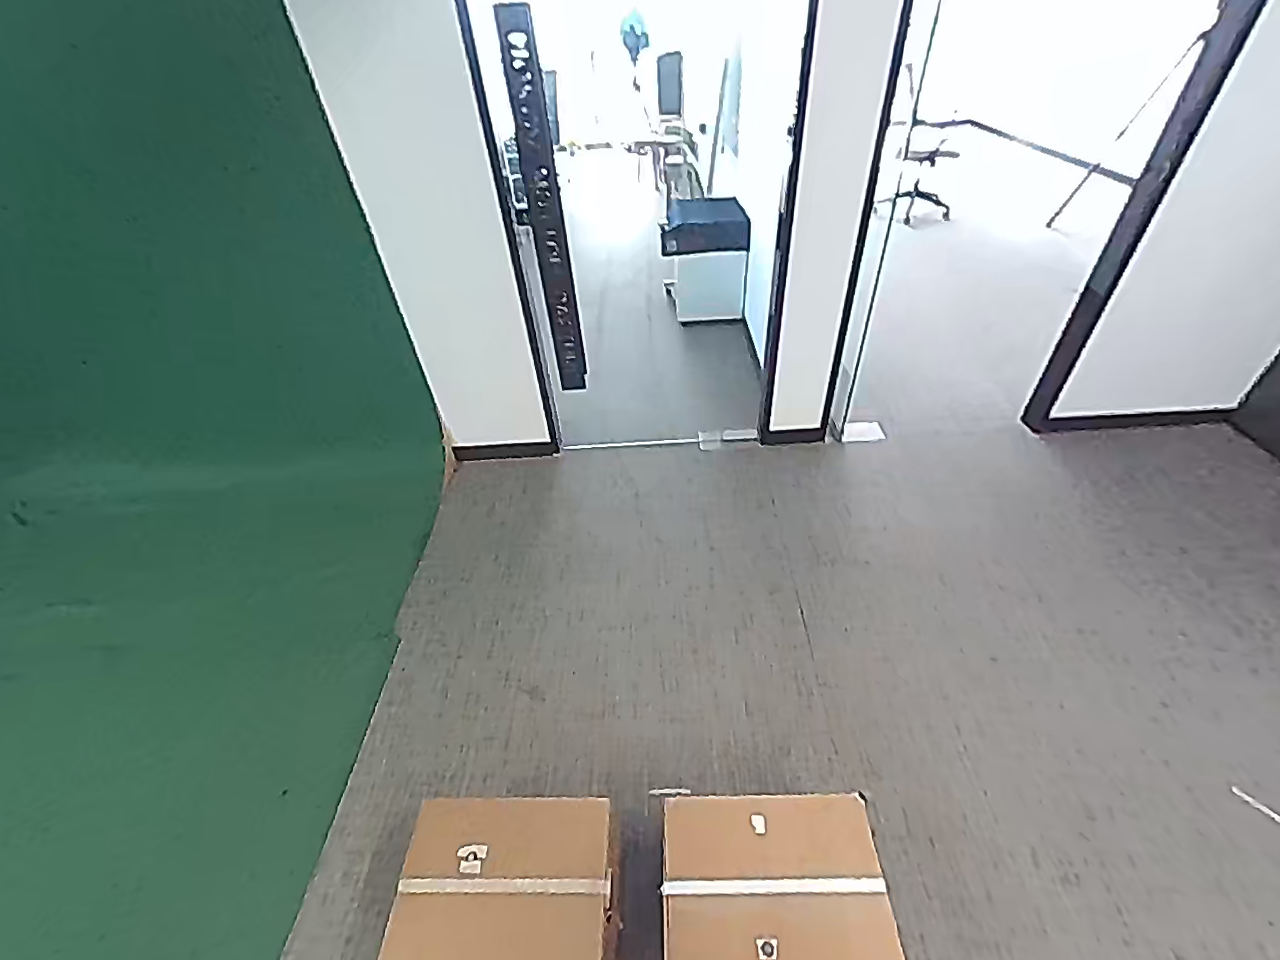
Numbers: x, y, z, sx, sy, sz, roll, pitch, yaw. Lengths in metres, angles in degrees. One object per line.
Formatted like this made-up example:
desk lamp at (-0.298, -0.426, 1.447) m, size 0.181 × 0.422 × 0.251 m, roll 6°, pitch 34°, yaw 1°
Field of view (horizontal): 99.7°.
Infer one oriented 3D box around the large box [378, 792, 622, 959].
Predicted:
large box at (-0.253, 0.875, 1.127) m, size 0.408 × 0.320 × 0.320 m, roll -3°, pitch 41°, yaw 4°
